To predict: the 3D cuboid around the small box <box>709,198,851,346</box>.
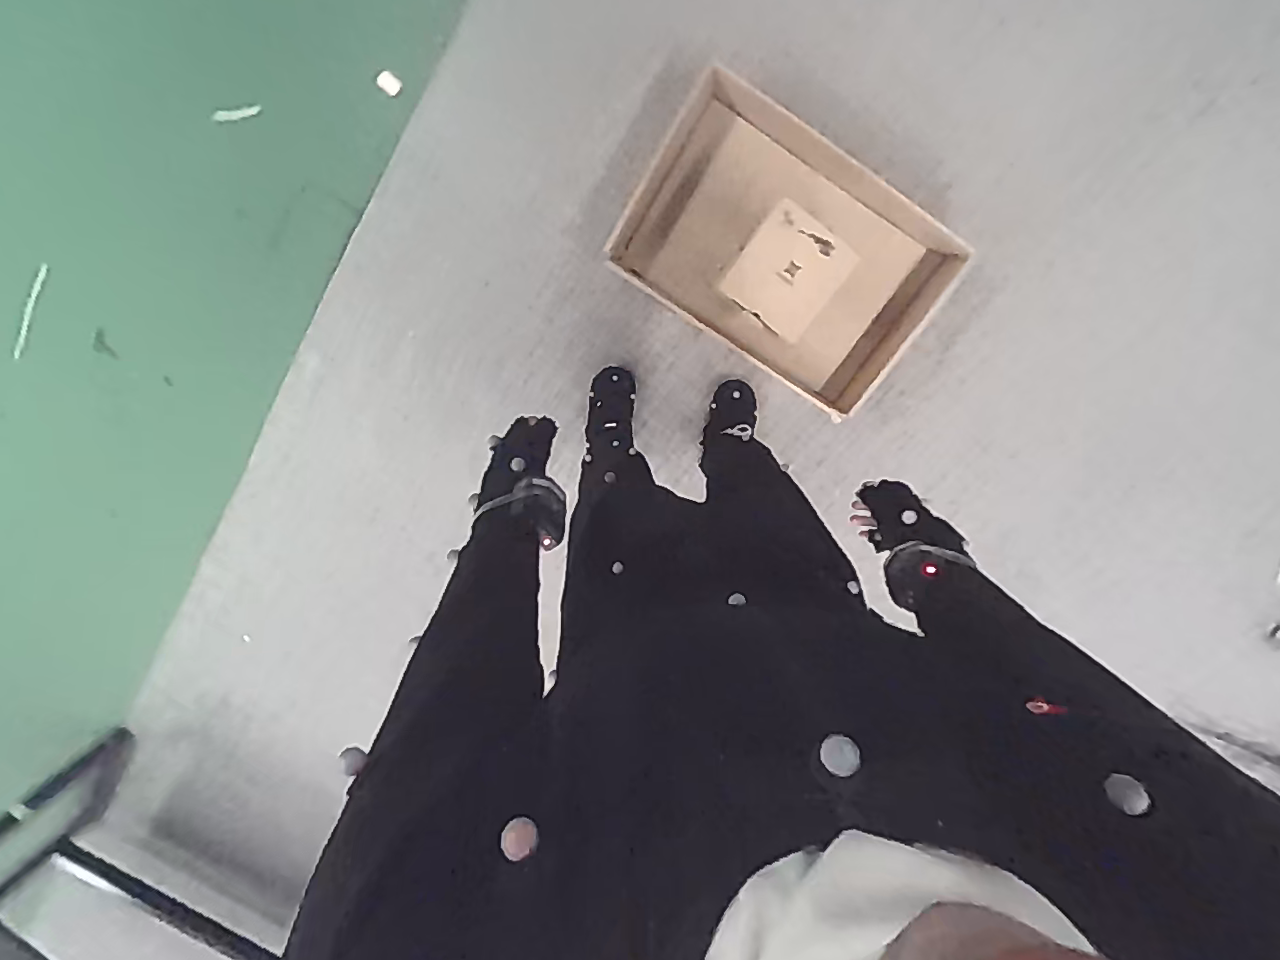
[{"bbox_3d":[0.241,-0.366,0.976,0.168,0.176,0.179,36,108,-7],"label":"small box"}]
